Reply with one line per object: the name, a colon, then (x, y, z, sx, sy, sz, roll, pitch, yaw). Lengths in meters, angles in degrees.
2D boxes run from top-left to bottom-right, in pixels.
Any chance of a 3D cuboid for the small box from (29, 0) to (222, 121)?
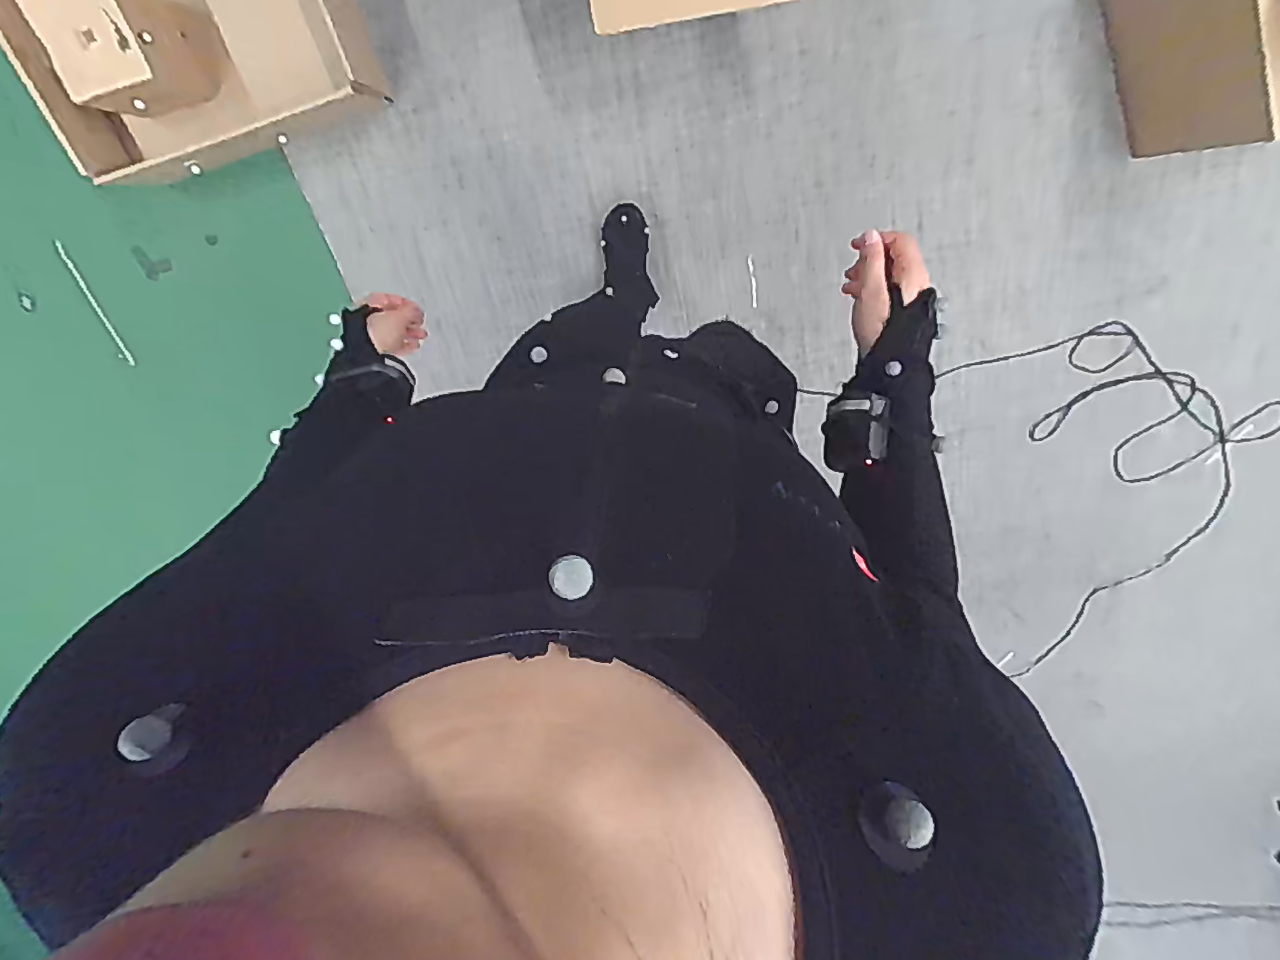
small box: (-0.984, -0.828, 1.054, 0.179, 0.176, 0.168, -12, 113, 7)
